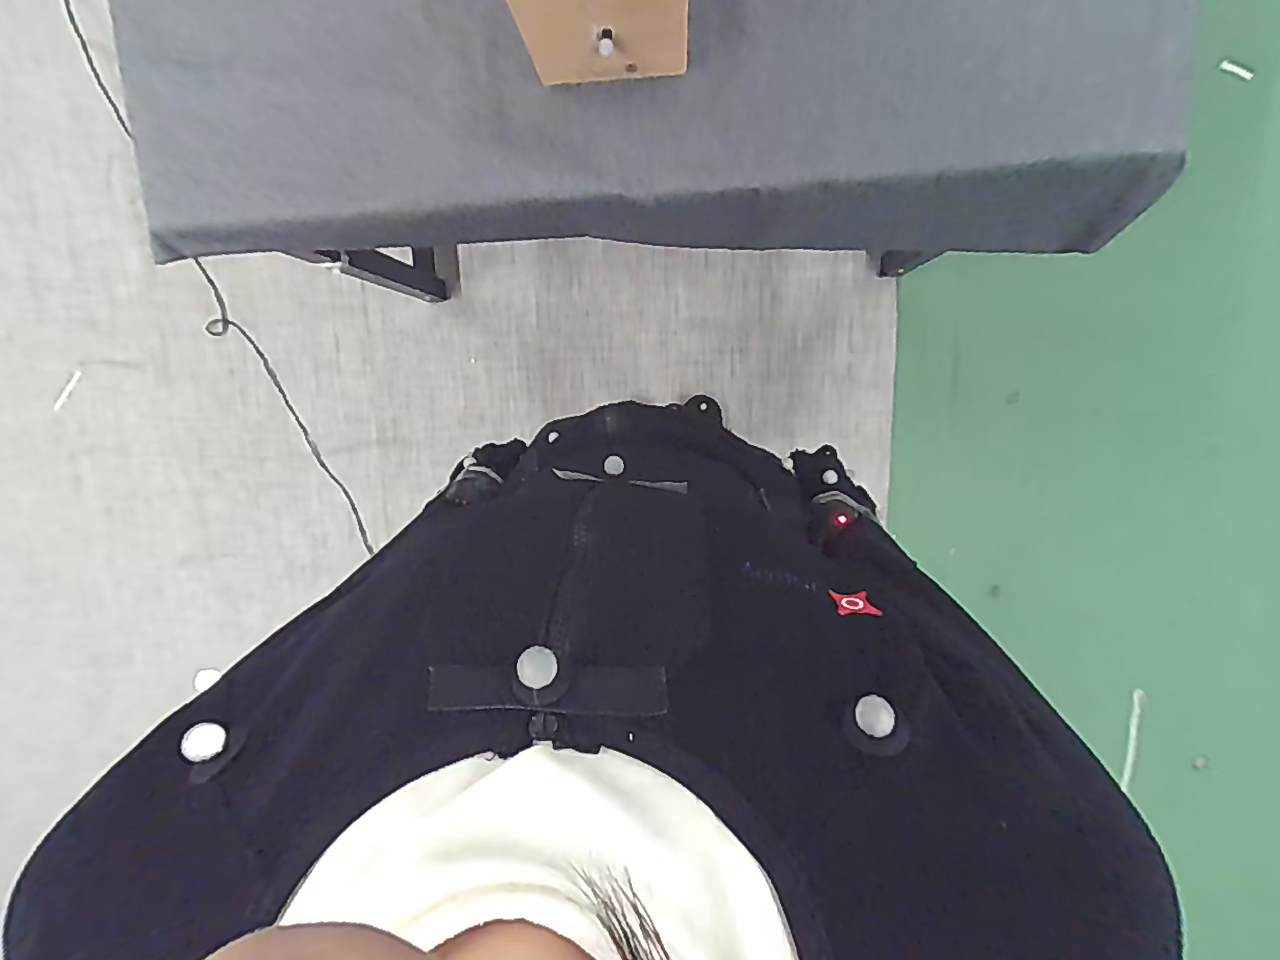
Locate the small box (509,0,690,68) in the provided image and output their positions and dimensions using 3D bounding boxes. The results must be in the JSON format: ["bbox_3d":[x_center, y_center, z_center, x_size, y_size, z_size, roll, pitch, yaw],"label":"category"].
[{"bbox_3d":[-0.037,-0.532,0.517,0.168,0.176,0.179,-2,100,6],"label":"small box"}]
